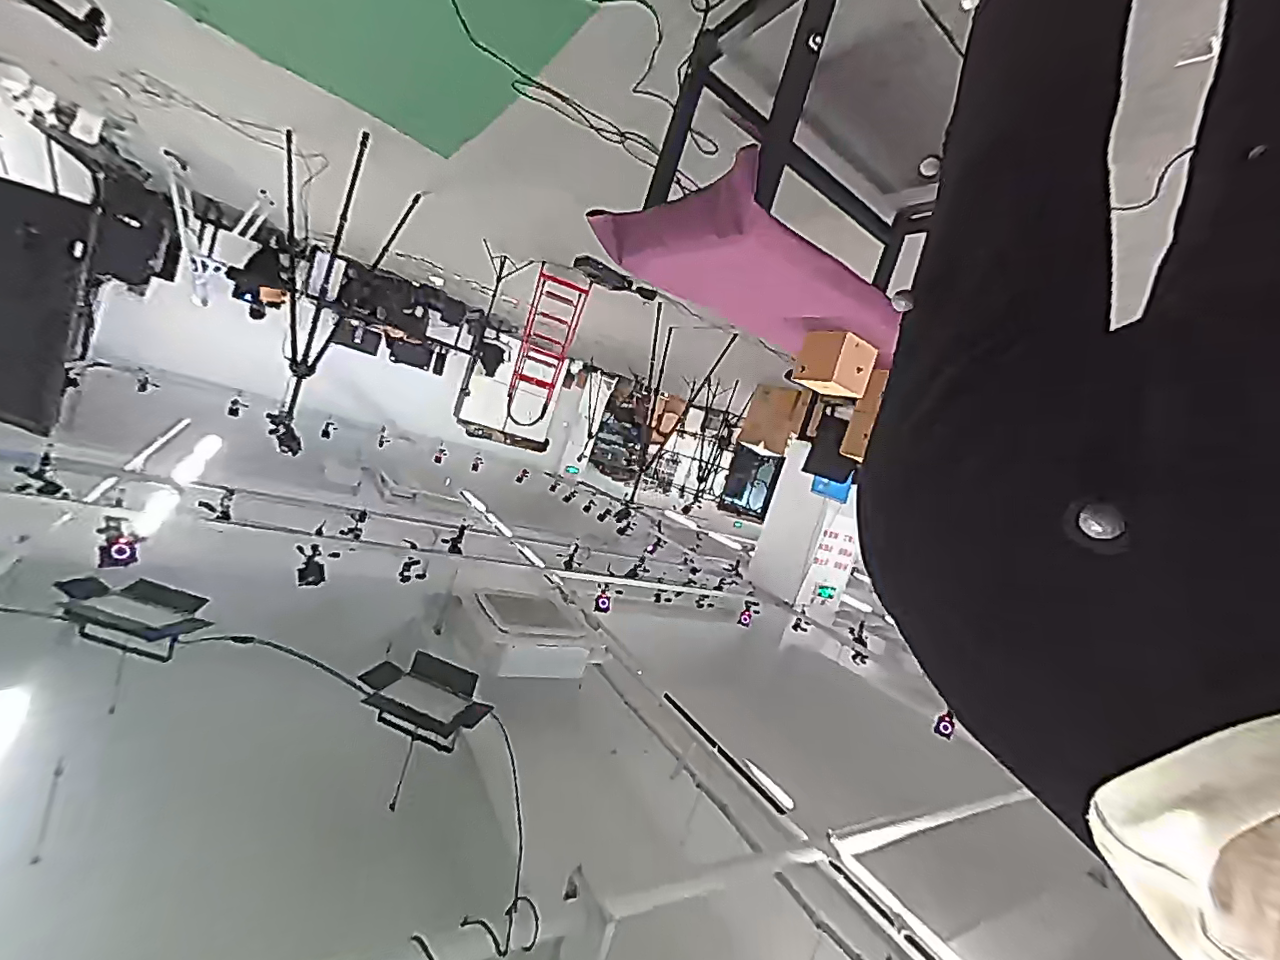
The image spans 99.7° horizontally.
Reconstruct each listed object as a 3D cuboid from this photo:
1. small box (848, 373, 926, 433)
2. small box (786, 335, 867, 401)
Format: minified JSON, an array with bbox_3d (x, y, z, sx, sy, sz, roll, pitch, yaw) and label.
[{"bbox_3d":[0.903,-0.284,1.972,0.168,0.176,0.179,16,-177,-33],"label":"small box"},{"bbox_3d":[0.617,-0.368,1.769,0.168,0.176,0.179,15,-176,-33],"label":"small box"}]
